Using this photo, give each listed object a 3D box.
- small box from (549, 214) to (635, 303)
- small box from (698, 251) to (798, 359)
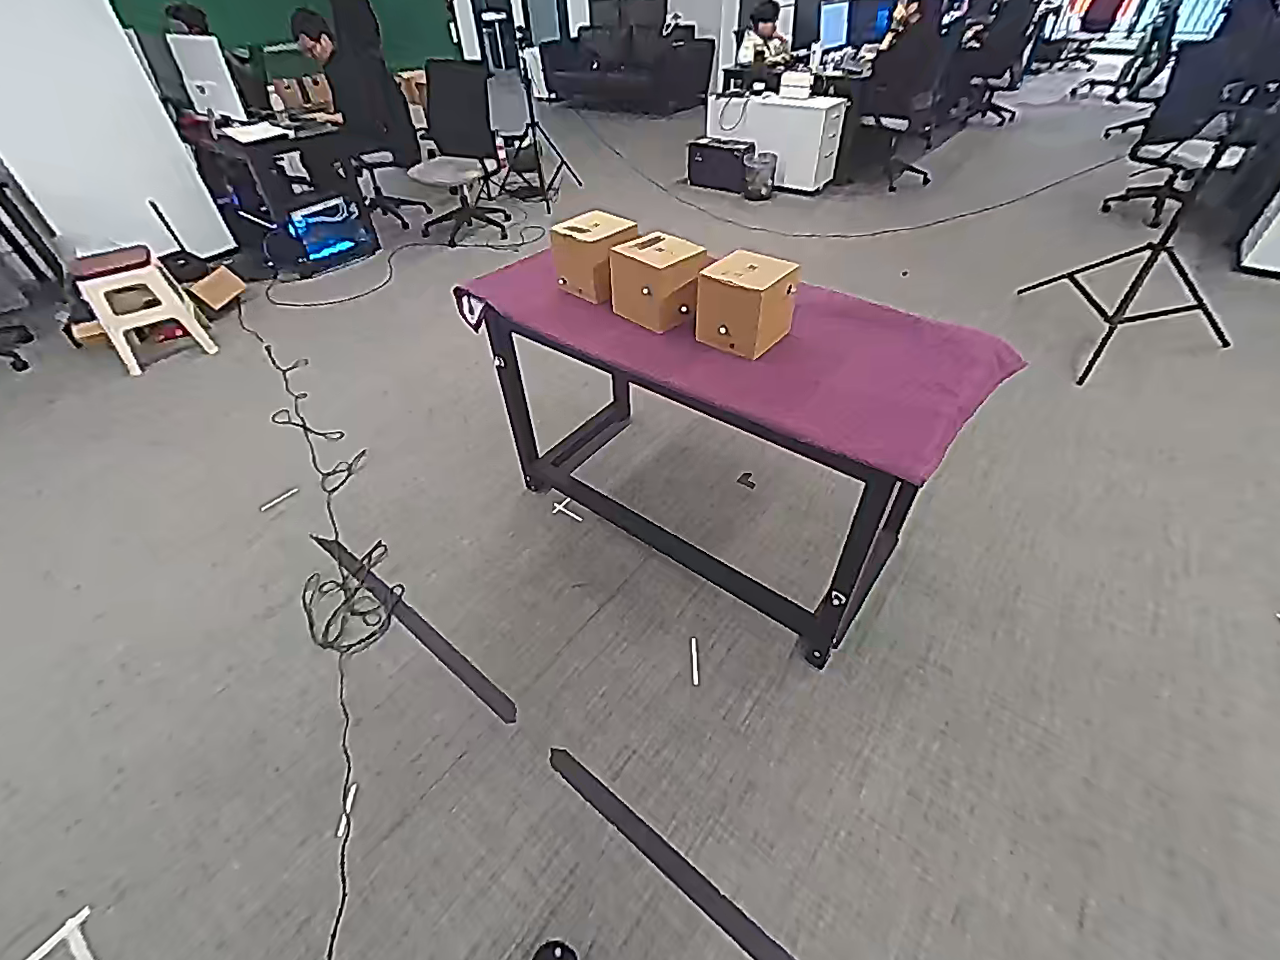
[{"bbox_3d":[-0.124,-0.612,1.499,0.168,0.176,0.179,33,54,31],"label":"small box"},{"bbox_3d":[0.245,-0.412,1.271,0.168,0.176,0.179,28,51,29],"label":"small box"}]
